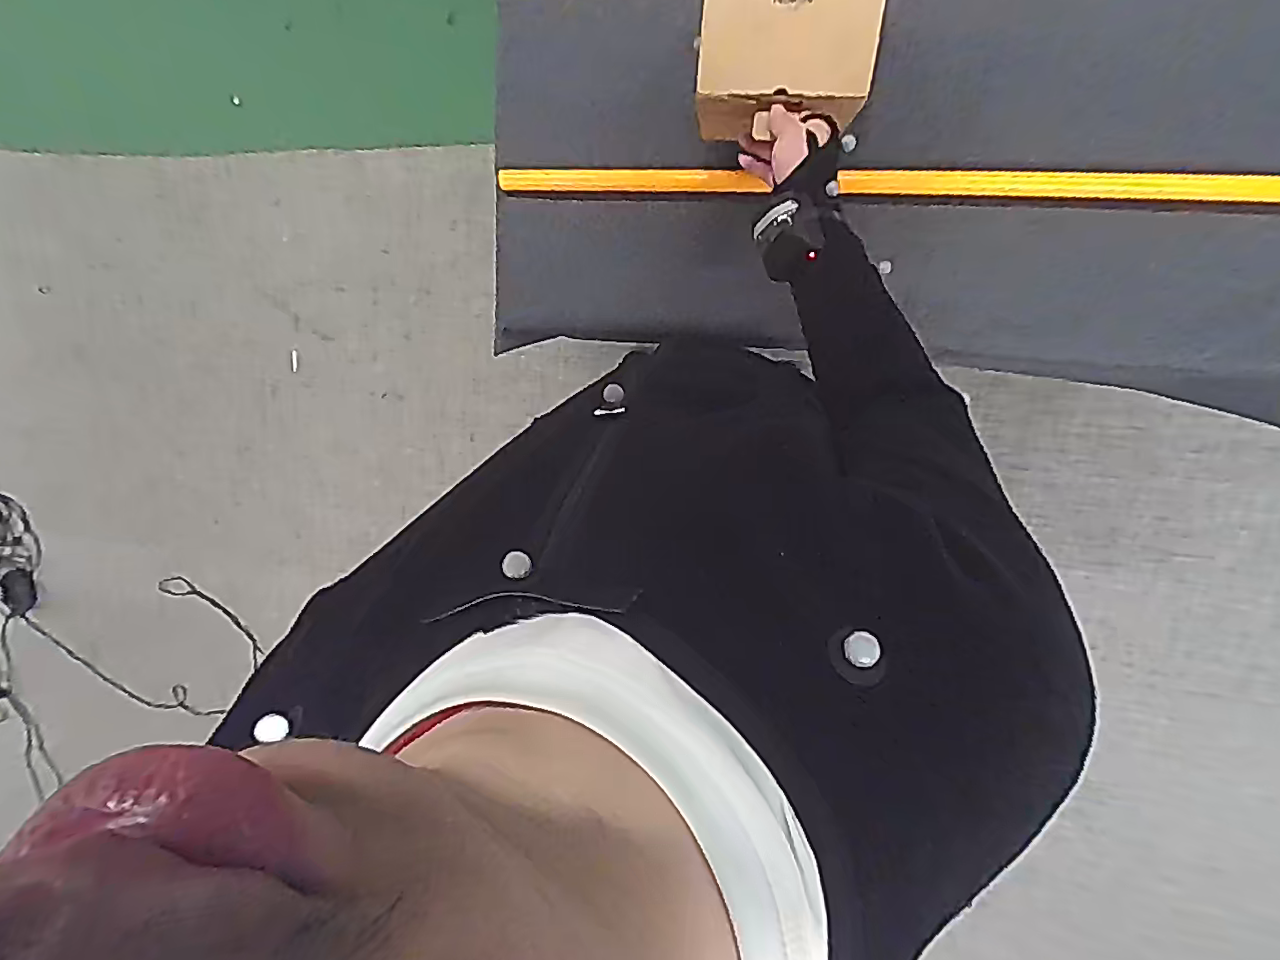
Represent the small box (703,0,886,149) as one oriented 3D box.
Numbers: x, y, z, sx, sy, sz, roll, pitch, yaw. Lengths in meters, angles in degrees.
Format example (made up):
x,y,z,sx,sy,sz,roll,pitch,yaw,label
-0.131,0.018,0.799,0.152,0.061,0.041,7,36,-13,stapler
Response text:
x,y,z,sx,sy,sz,roll,pitch,yaw,label
0.163,-0.472,0.584,0.168,0.176,0.179,5,110,9,small box
